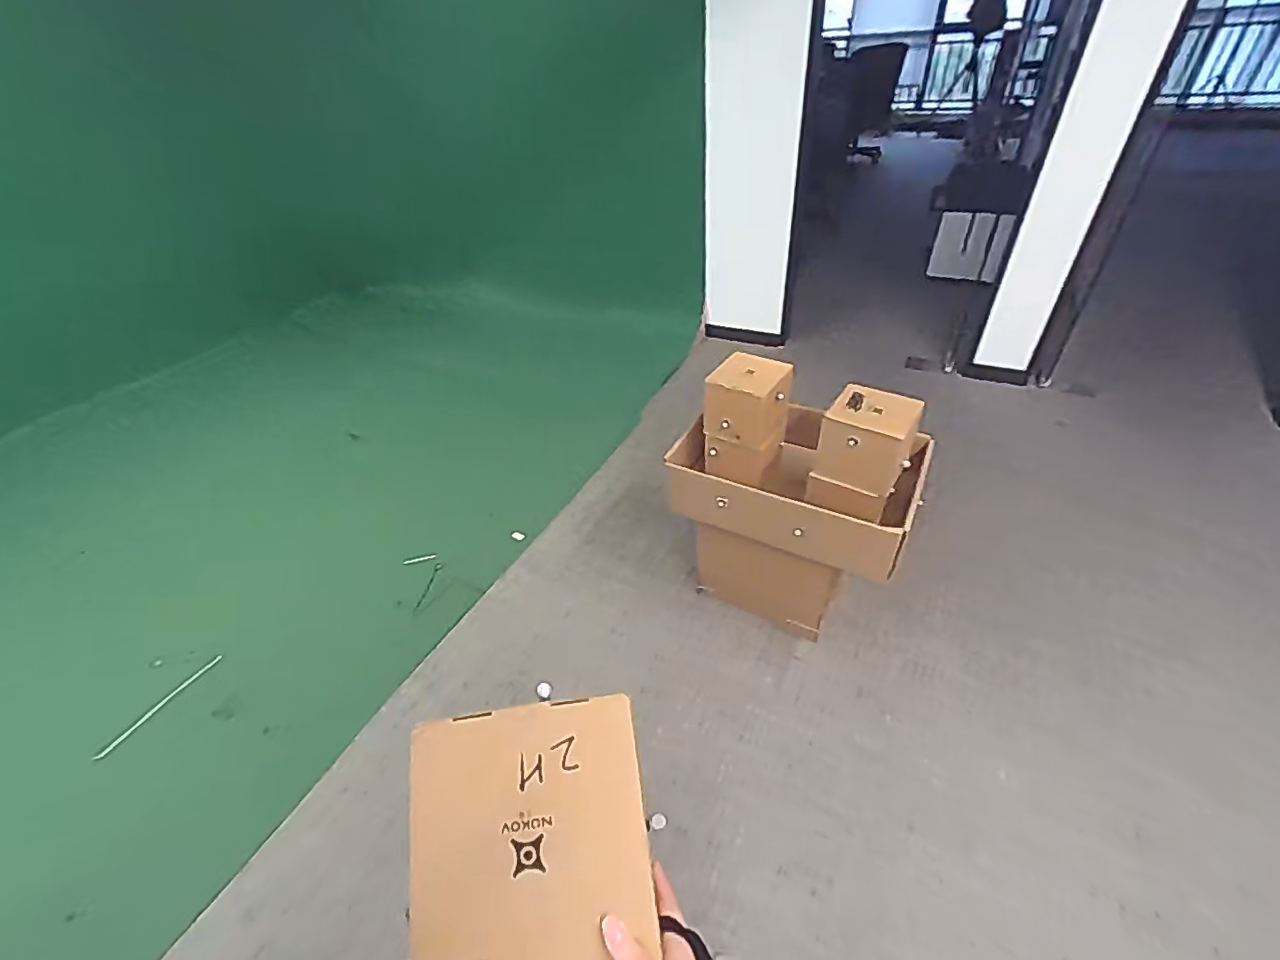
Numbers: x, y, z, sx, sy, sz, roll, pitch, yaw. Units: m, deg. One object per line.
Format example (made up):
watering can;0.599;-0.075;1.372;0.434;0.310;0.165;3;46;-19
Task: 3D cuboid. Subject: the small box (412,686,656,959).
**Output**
small box;-0.078;0.277;0.458;0.168;0.176;0.179;-6;69;-3

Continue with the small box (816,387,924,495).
small box;0.530;-0.091;1.264;0.179;0.176;0.168;23;48;29

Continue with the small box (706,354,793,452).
small box;0.282;-0.204;1.425;0.168;0.176;0.179;22;48;29
